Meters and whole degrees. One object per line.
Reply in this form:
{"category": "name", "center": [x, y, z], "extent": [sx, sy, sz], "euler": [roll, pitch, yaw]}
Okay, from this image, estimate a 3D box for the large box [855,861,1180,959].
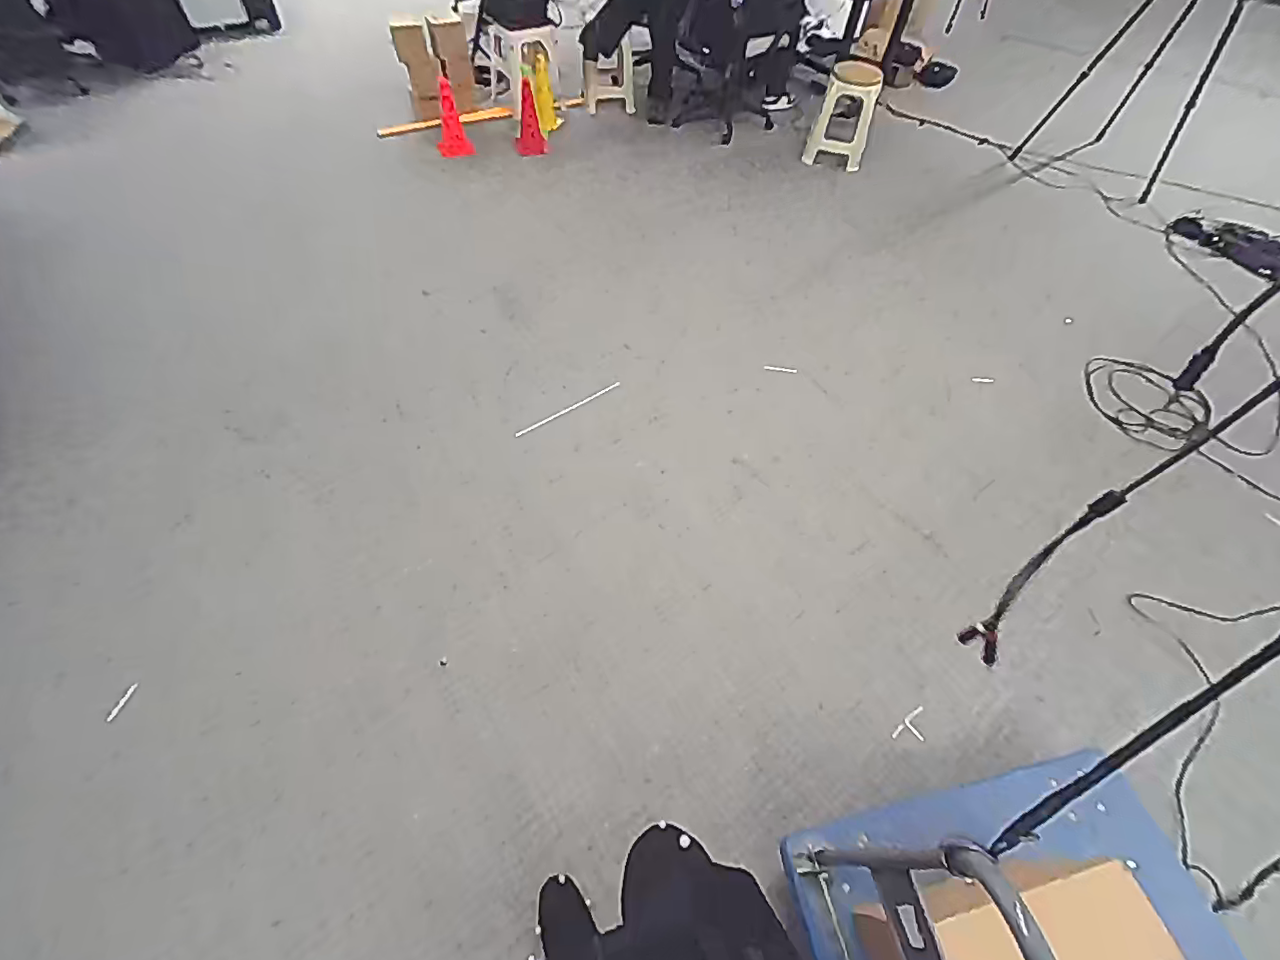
{"category": "large box", "center": [0.673, 0.909, 0.949], "extent": [0.408, 0.320, 0.320], "euler": [-8, 57, -10]}
